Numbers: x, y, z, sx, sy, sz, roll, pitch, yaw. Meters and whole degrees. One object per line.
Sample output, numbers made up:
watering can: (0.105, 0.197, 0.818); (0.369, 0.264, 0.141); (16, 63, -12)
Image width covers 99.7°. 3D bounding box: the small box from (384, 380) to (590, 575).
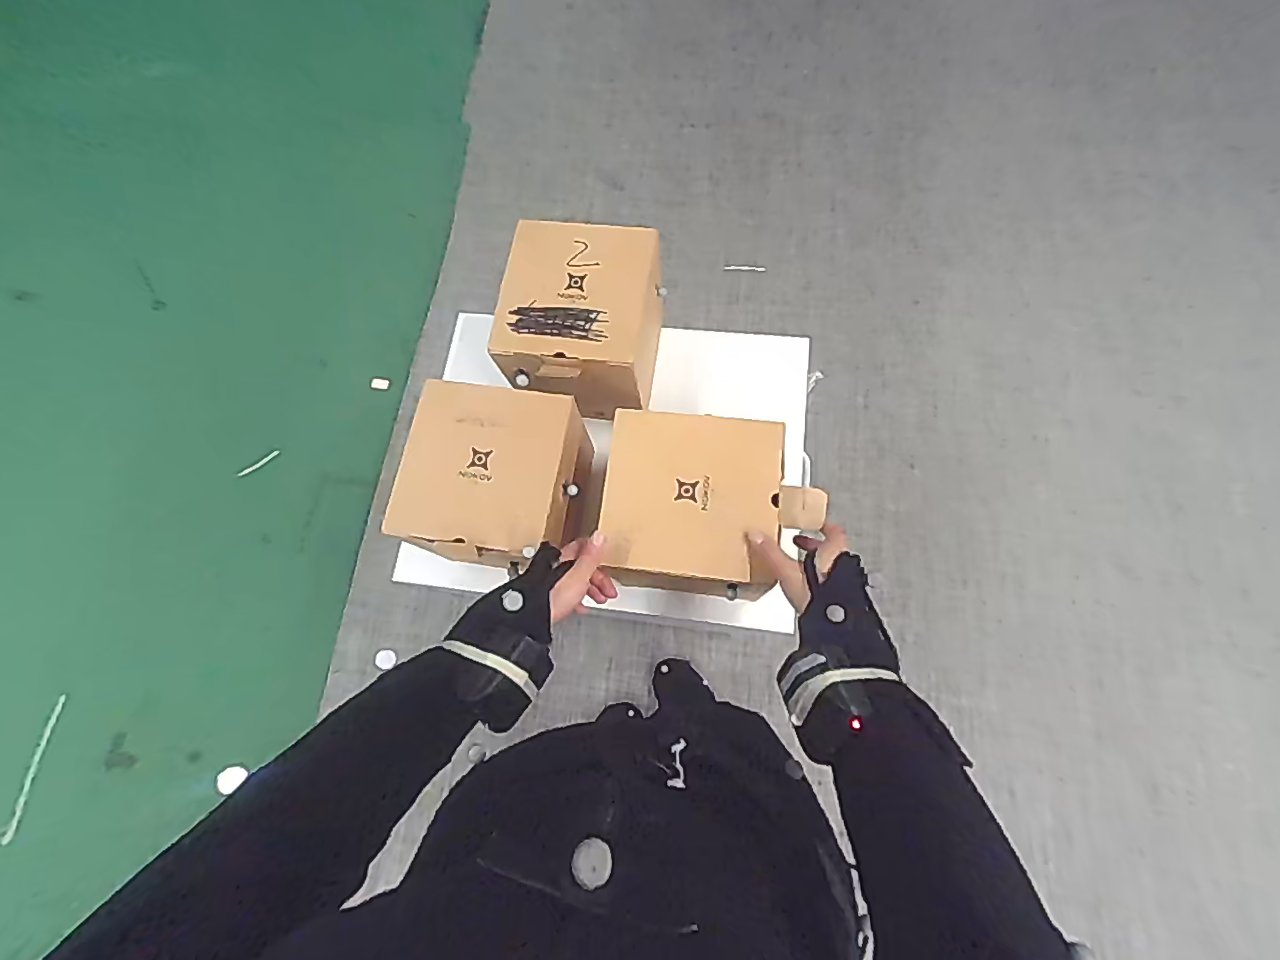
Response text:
small box: (-0.159, 0.007, 0.630); (0.168, 0.176, 0.179); (7, 72, 5)
